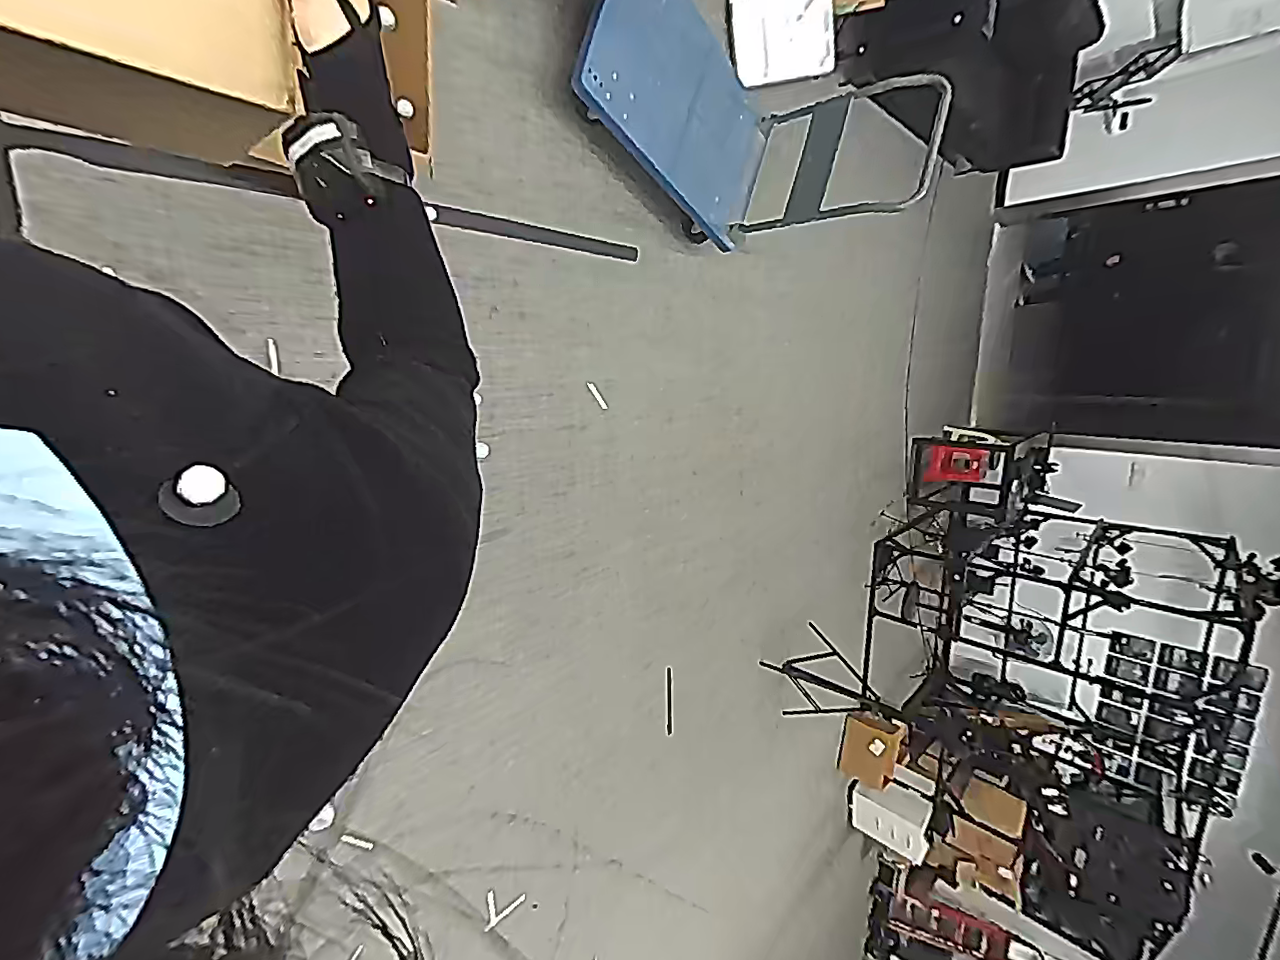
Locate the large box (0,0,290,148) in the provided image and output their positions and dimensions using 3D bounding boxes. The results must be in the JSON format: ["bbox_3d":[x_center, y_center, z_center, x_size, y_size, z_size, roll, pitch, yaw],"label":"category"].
[{"bbox_3d":[-0.511,-0.464,0.361,0.408,0.320,0.320,-9,111,-44],"label":"large box"}]
